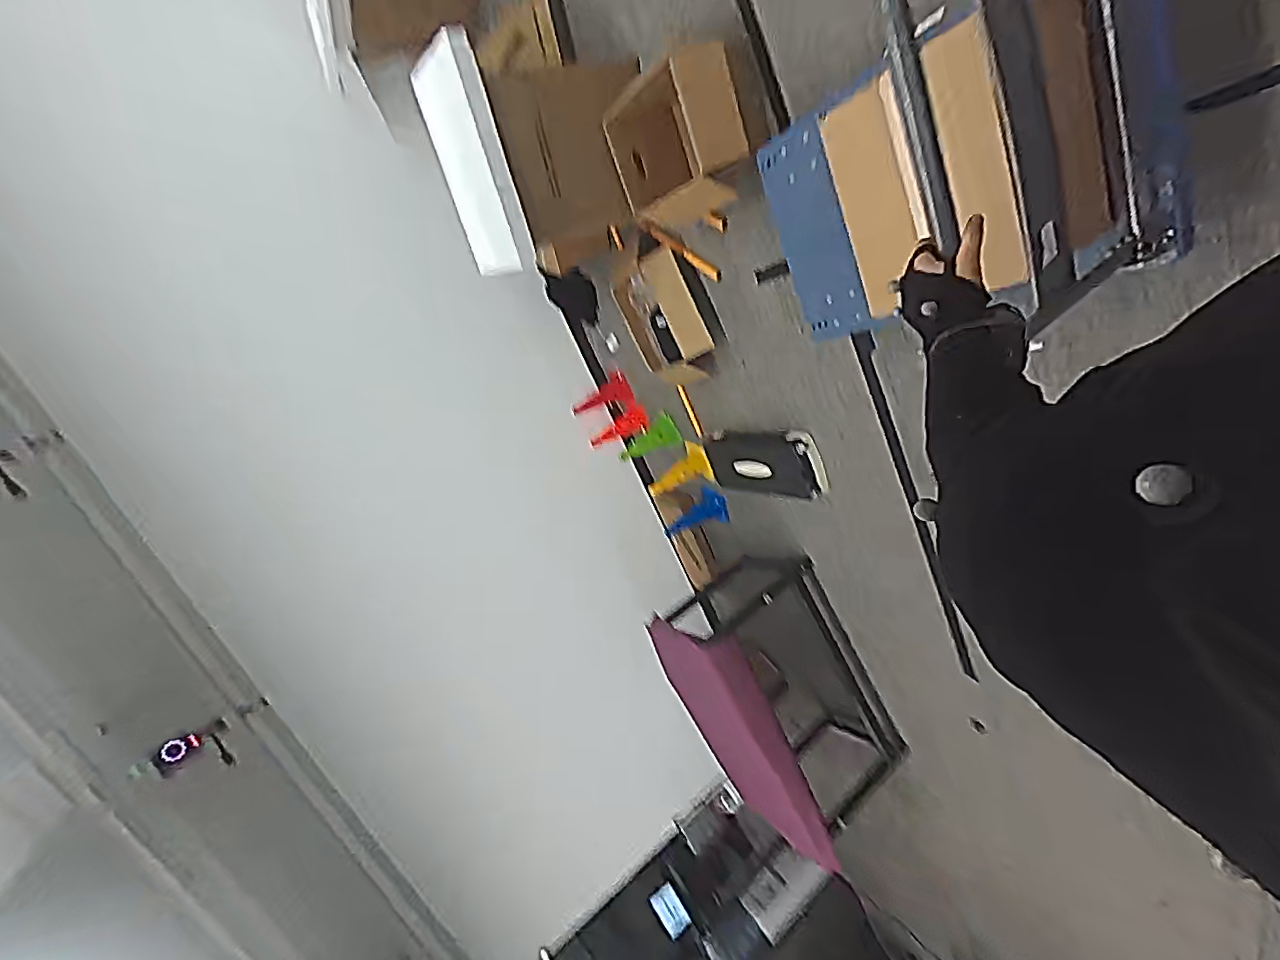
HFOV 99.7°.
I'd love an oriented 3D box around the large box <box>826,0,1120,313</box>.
[{"bbox_3d":[0.629,-0.590,1.029,0.320,0.320,0.408,6,123,62],"label":"large box"}]
